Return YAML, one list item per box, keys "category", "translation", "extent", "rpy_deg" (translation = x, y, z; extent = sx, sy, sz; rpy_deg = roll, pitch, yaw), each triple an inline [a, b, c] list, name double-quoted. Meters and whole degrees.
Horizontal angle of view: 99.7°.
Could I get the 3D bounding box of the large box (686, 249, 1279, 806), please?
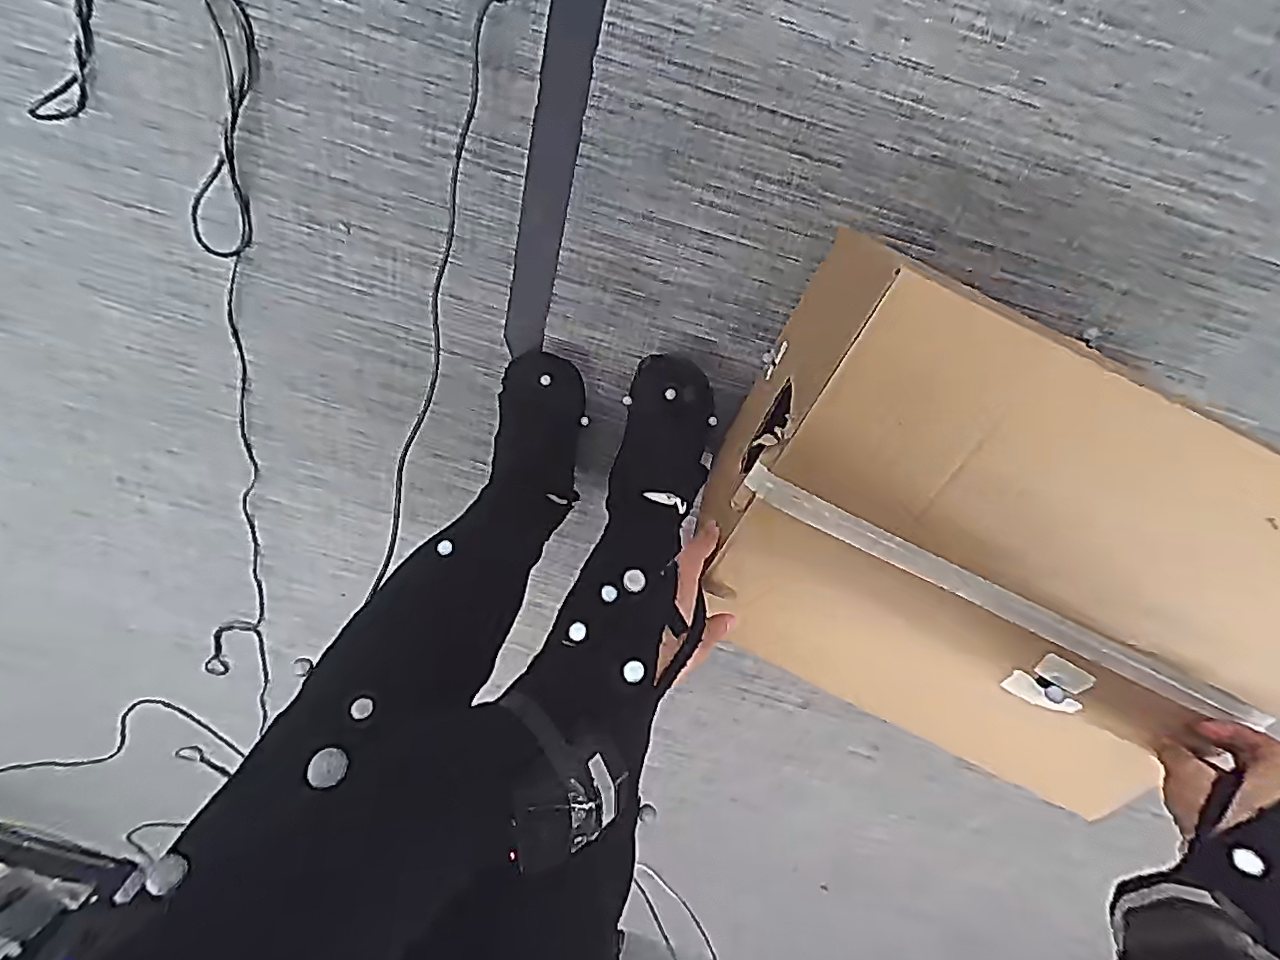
- category: "large box"
  translation: [0.299, 0.019, 0.521]
  extent: [0.408, 0.320, 0.320]
  rpy_deg: [25, 122, -1]
